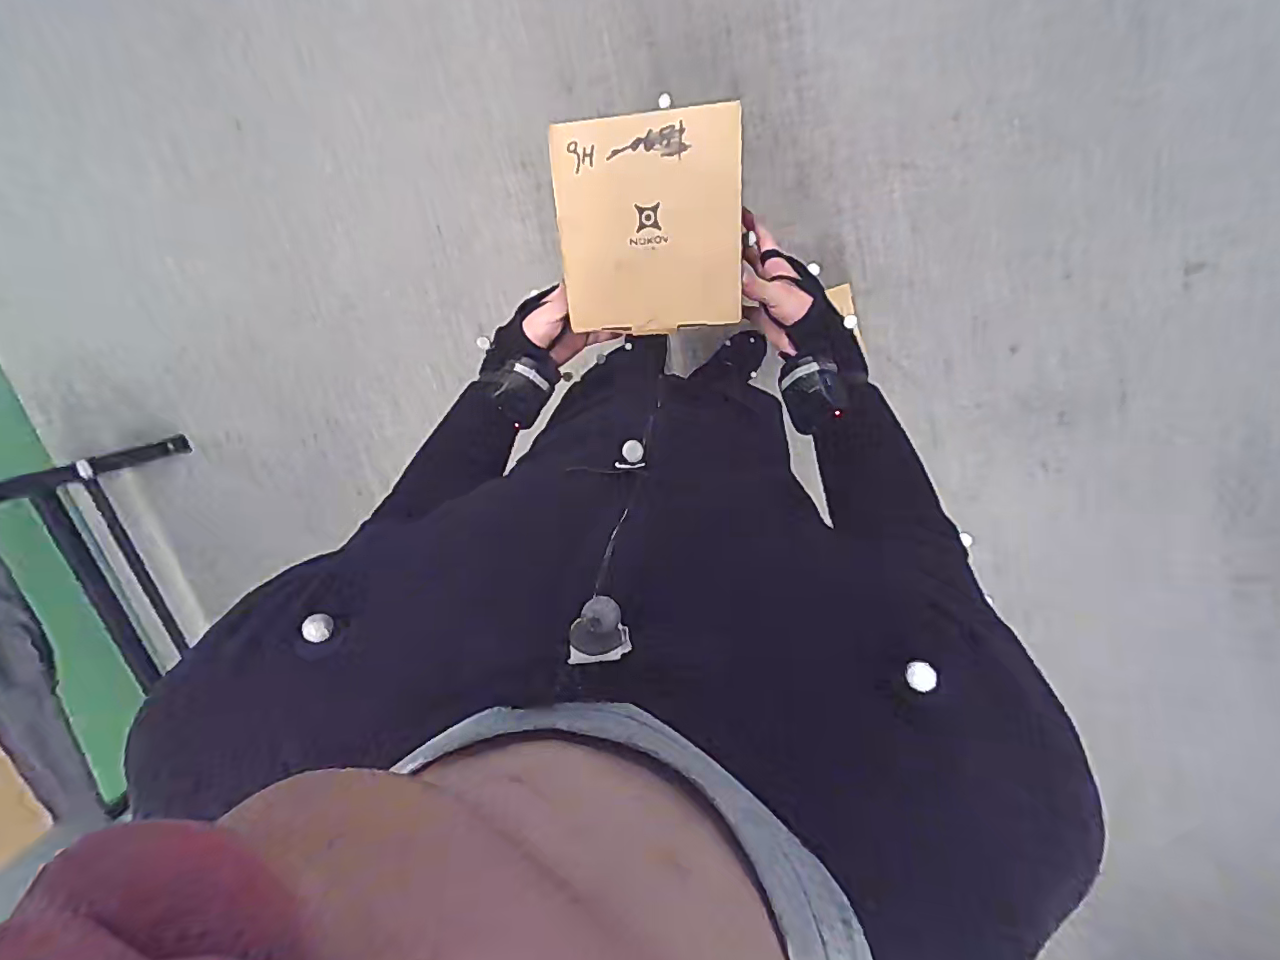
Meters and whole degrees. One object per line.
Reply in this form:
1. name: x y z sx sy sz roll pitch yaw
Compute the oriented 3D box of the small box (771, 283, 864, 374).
1. small box: 0.428 -0.374 1.324 0.179 0.176 0.168 -15 105 16
